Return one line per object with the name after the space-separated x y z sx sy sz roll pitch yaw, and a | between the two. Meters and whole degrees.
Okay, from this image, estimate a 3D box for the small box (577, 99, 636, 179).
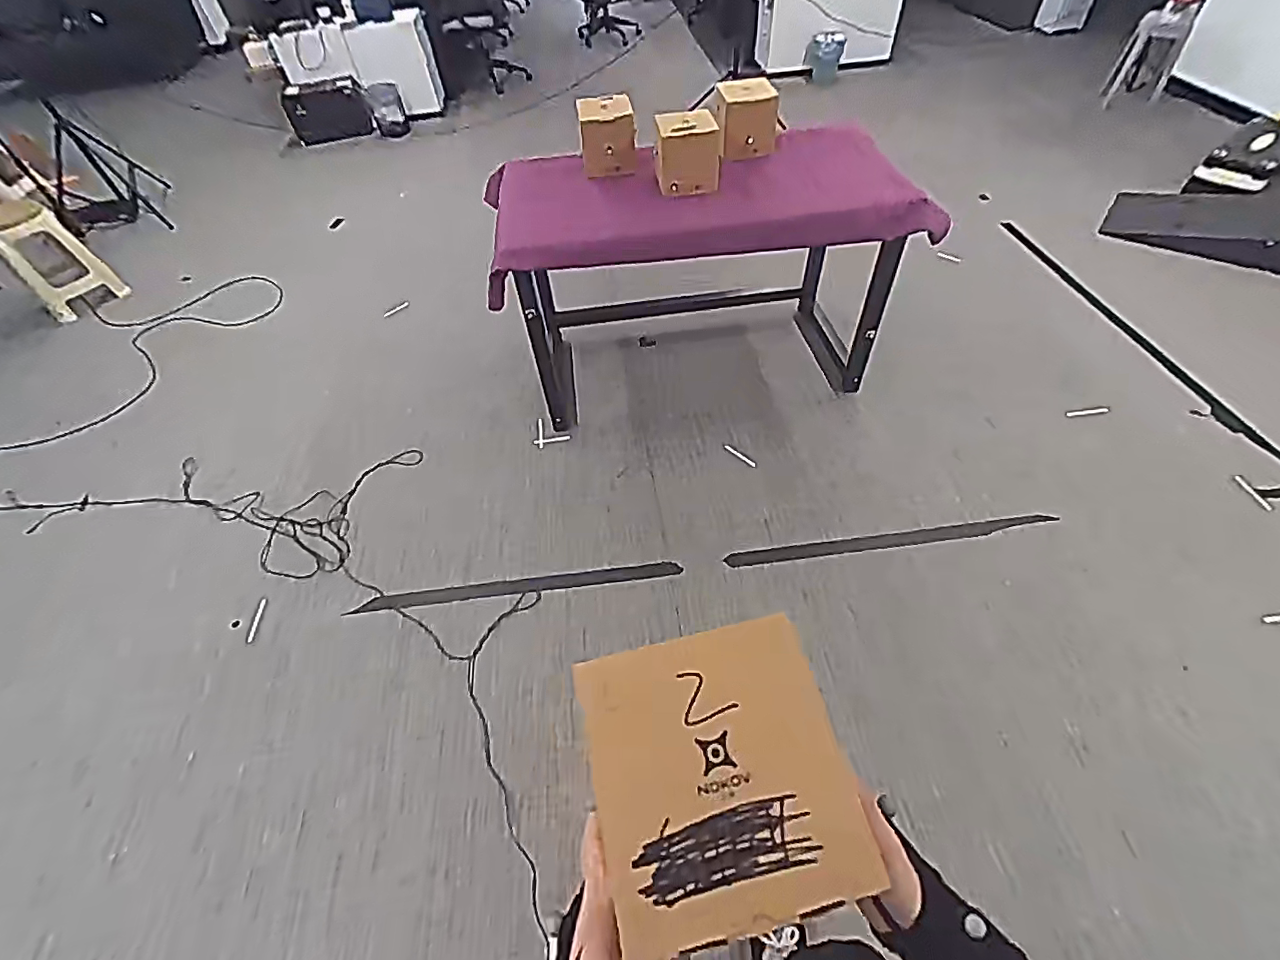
-0.105 -1.086 1.732 0.168 0.176 0.179 -8 54 -2 | small box

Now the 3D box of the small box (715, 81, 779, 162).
0.337 -1.158 1.751 0.168 0.176 0.179 -8 53 -1 | small box

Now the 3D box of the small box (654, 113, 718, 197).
0.137 -0.966 1.619 0.168 0.176 0.179 -7 51 -1 | small box
